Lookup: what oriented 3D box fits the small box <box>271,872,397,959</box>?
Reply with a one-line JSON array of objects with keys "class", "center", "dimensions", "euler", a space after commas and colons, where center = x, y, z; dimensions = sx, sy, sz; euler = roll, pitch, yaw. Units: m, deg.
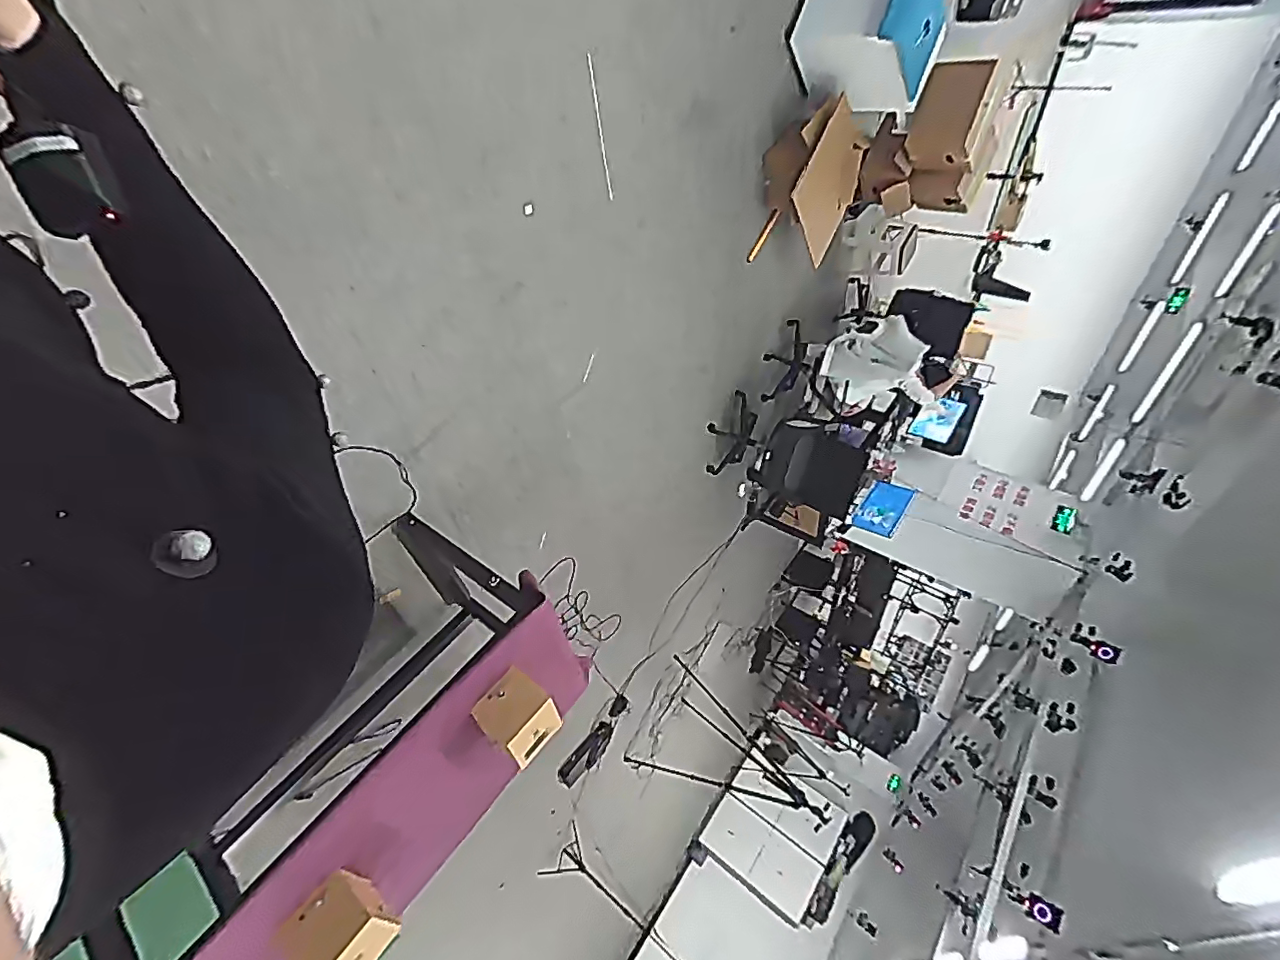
[{"class": "small box", "center": [-0.727, 1.082, 1.290], "dimensions": [0.168, 0.176, 0.179], "euler": [-45, 146, -33]}]
